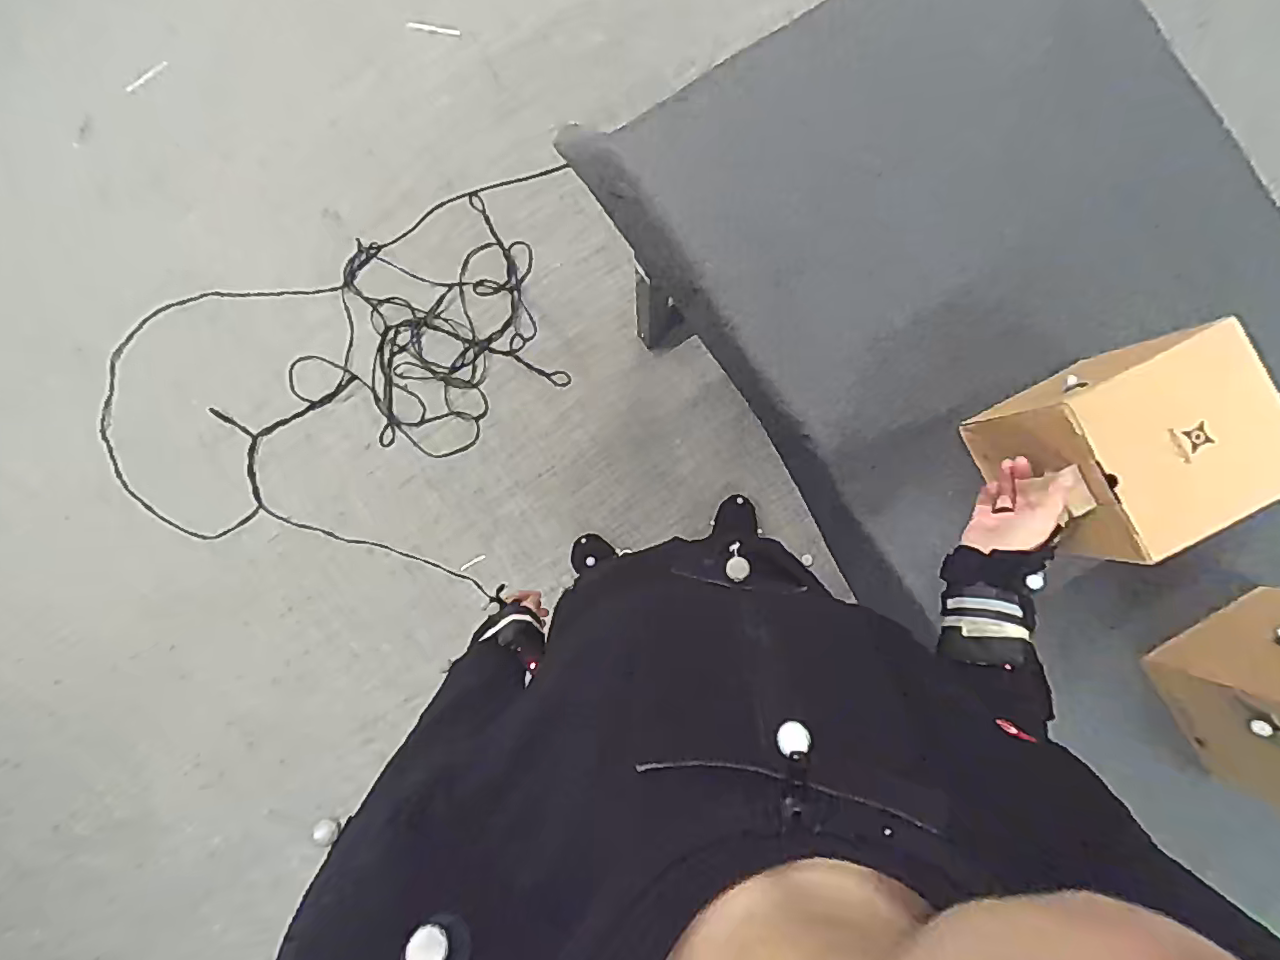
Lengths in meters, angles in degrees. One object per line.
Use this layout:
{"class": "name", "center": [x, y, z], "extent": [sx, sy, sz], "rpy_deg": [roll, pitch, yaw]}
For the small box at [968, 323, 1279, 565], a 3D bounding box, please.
{"class": "small box", "center": [0.496, -0.033, 0.563], "extent": [0.179, 0.176, 0.168], "rpy_deg": [-28, 89, 0]}
